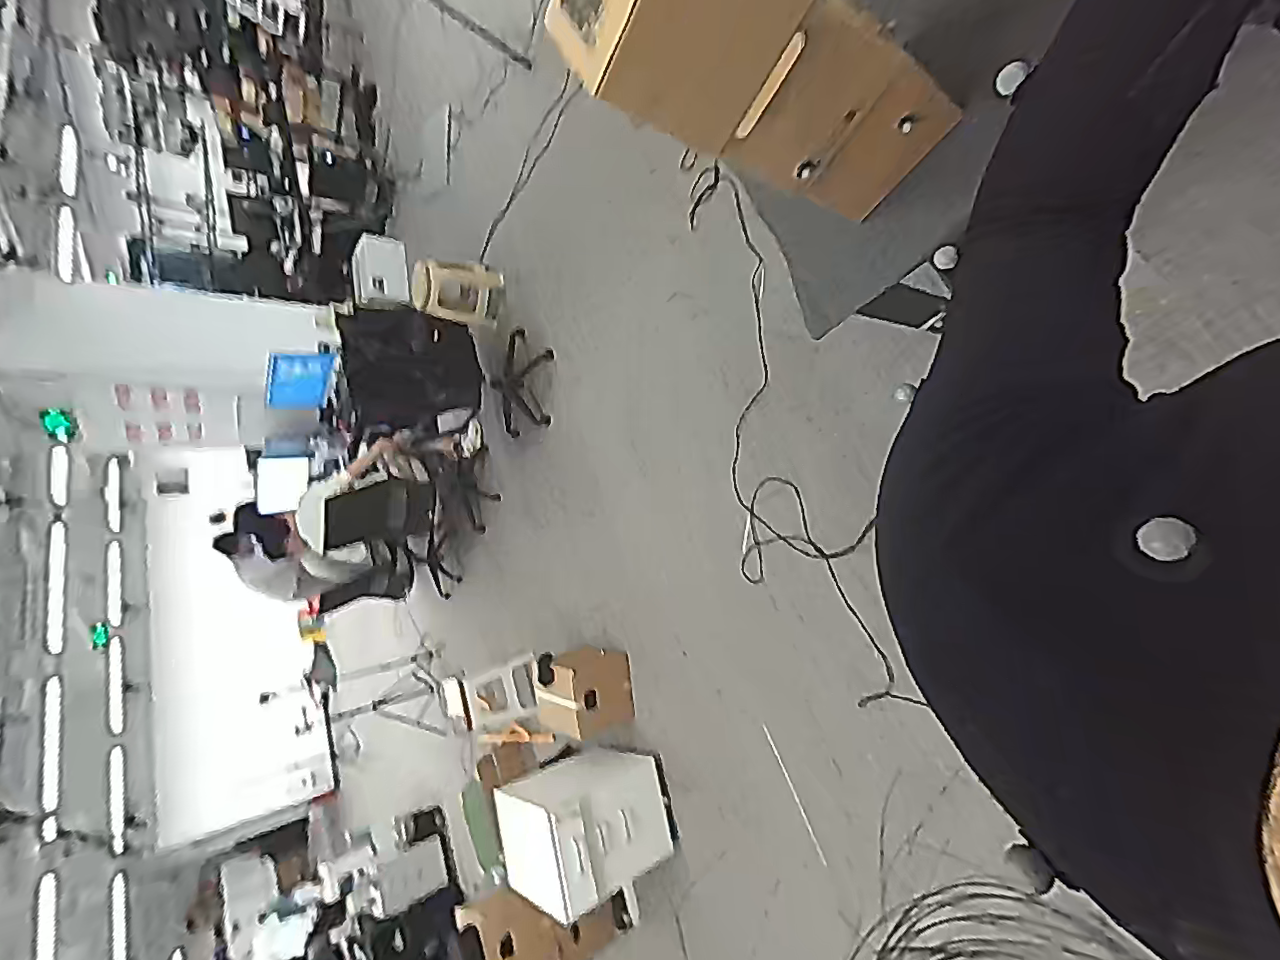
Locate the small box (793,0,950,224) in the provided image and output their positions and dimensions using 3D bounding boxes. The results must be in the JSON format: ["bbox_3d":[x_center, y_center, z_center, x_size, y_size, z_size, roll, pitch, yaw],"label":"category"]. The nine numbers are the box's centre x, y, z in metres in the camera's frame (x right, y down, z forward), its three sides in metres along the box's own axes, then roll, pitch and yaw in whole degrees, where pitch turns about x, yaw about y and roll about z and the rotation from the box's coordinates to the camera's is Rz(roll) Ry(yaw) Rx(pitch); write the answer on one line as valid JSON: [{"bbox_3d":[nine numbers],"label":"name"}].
[{"bbox_3d":[0.295,-0.497,0.754,0.179,0.176,0.168,-46,57,44],"label":"small box"}]

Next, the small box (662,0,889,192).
[{"bbox_3d":[0.162,-0.483,0.659,0.168,0.176,0.179,-49,54,41],"label":"small box"}]
